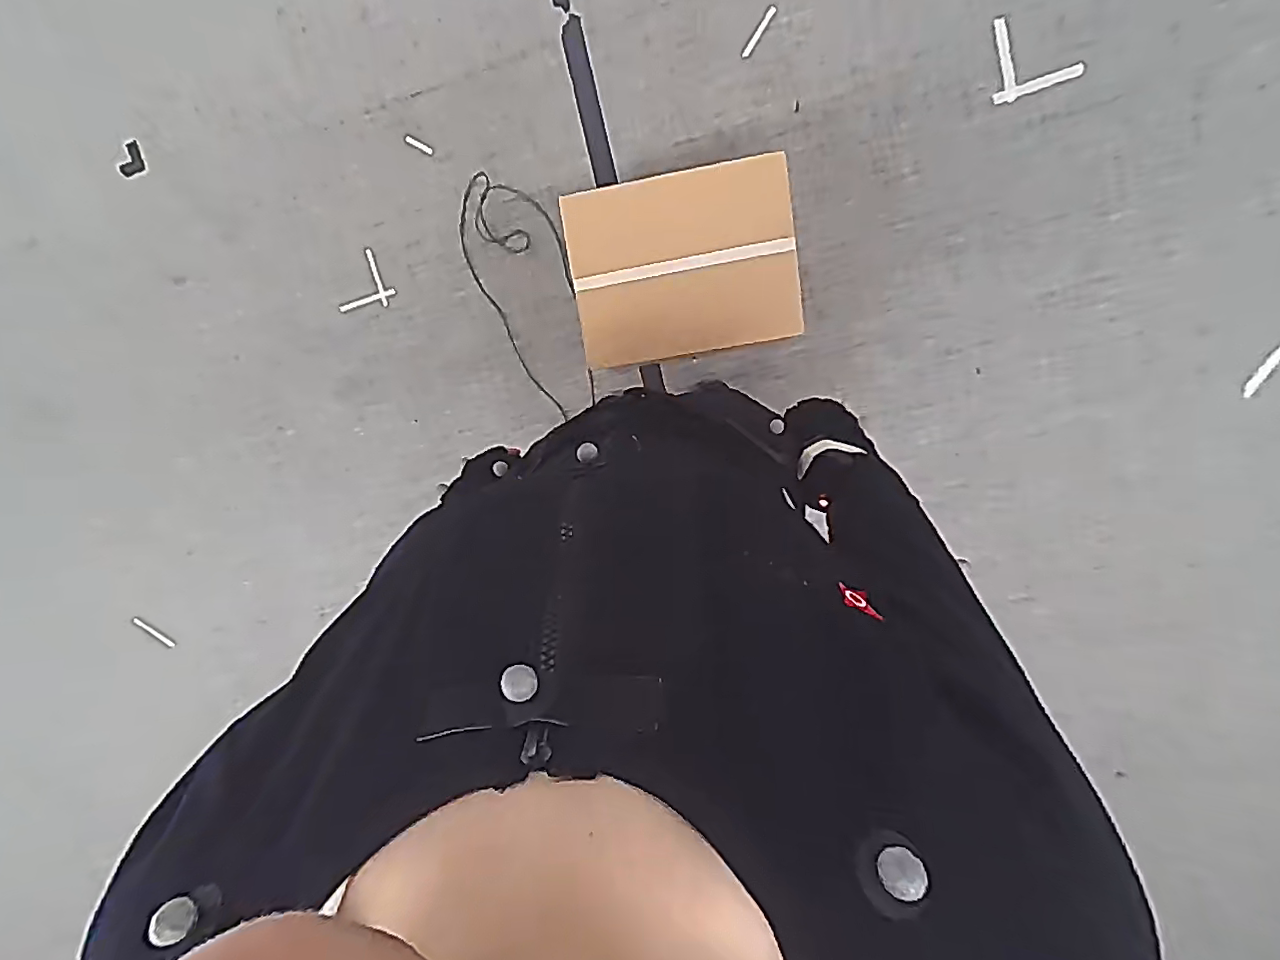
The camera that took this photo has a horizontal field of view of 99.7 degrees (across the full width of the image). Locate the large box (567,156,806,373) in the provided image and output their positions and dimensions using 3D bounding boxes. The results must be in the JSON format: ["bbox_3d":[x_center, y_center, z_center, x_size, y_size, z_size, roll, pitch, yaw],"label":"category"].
[{"bbox_3d":[0.097,-0.410,1.126,0.408,0.320,0.320,-8,101,7],"label":"large box"}]
